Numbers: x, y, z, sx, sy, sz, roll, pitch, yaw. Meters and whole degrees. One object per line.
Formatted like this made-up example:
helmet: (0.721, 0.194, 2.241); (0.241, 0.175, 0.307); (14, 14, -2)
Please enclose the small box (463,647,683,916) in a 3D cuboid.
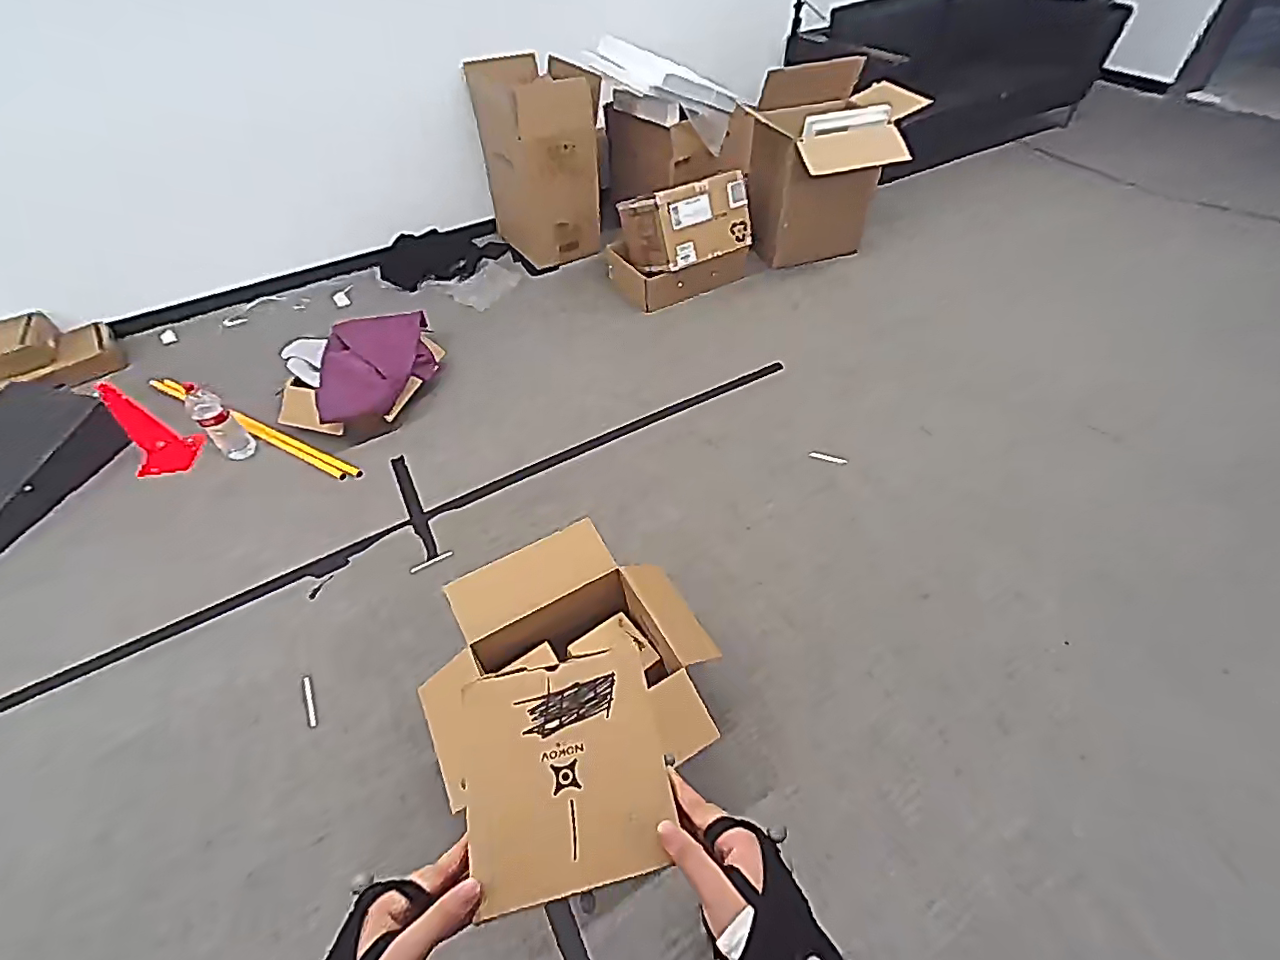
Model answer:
small box: (-0.066, 0.288, 0.523); (0.168, 0.176, 0.179); (-11, 56, -8)
